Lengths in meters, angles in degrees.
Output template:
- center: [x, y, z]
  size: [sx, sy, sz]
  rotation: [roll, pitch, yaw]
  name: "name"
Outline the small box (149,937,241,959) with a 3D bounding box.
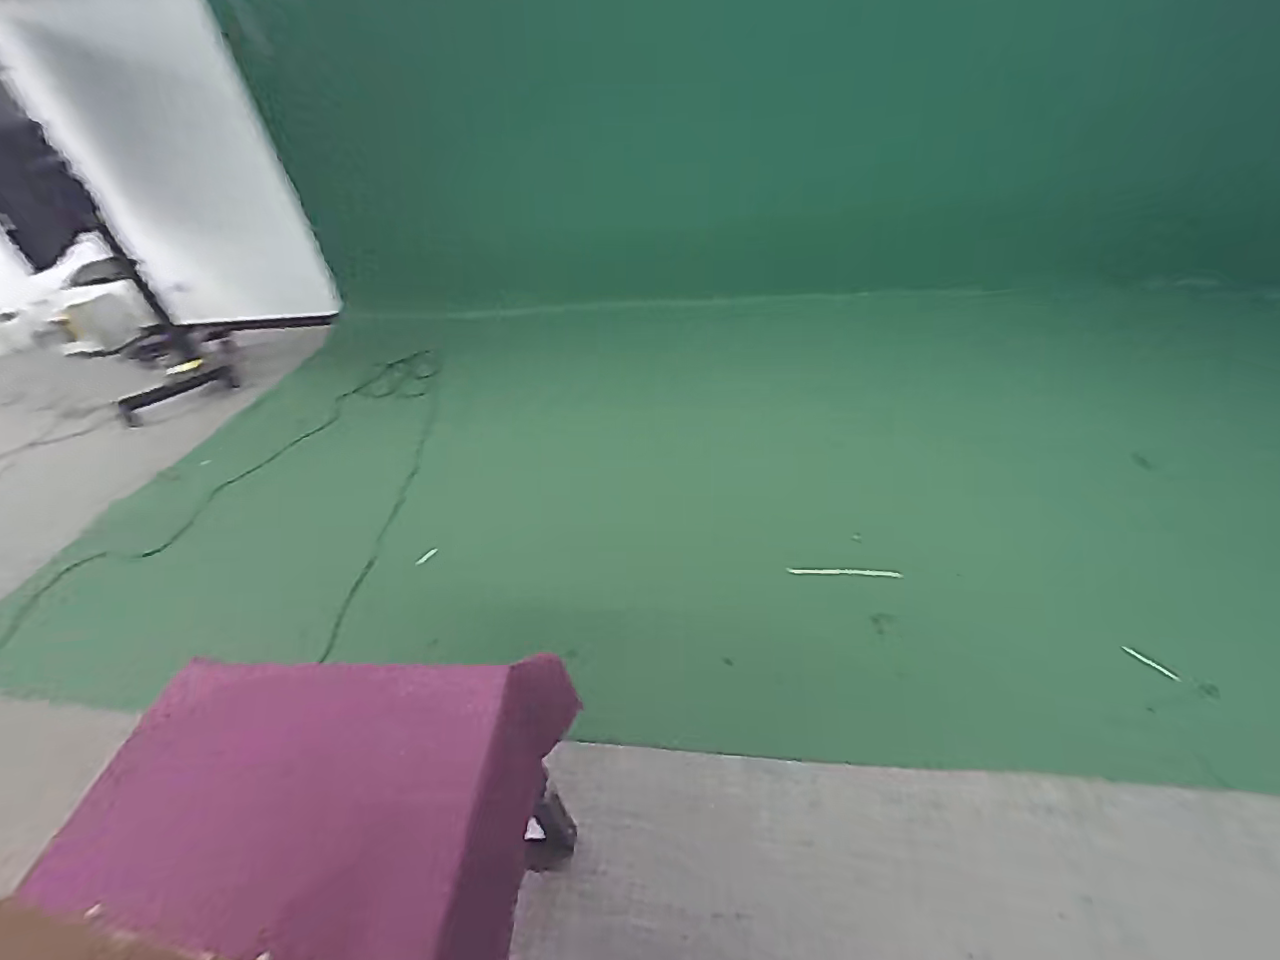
- center: [-0.429, 0.572, 0.511]
  size: [0.168, 0.176, 0.179]
  rotation: [1, 40, 11]
  name: "small box"
